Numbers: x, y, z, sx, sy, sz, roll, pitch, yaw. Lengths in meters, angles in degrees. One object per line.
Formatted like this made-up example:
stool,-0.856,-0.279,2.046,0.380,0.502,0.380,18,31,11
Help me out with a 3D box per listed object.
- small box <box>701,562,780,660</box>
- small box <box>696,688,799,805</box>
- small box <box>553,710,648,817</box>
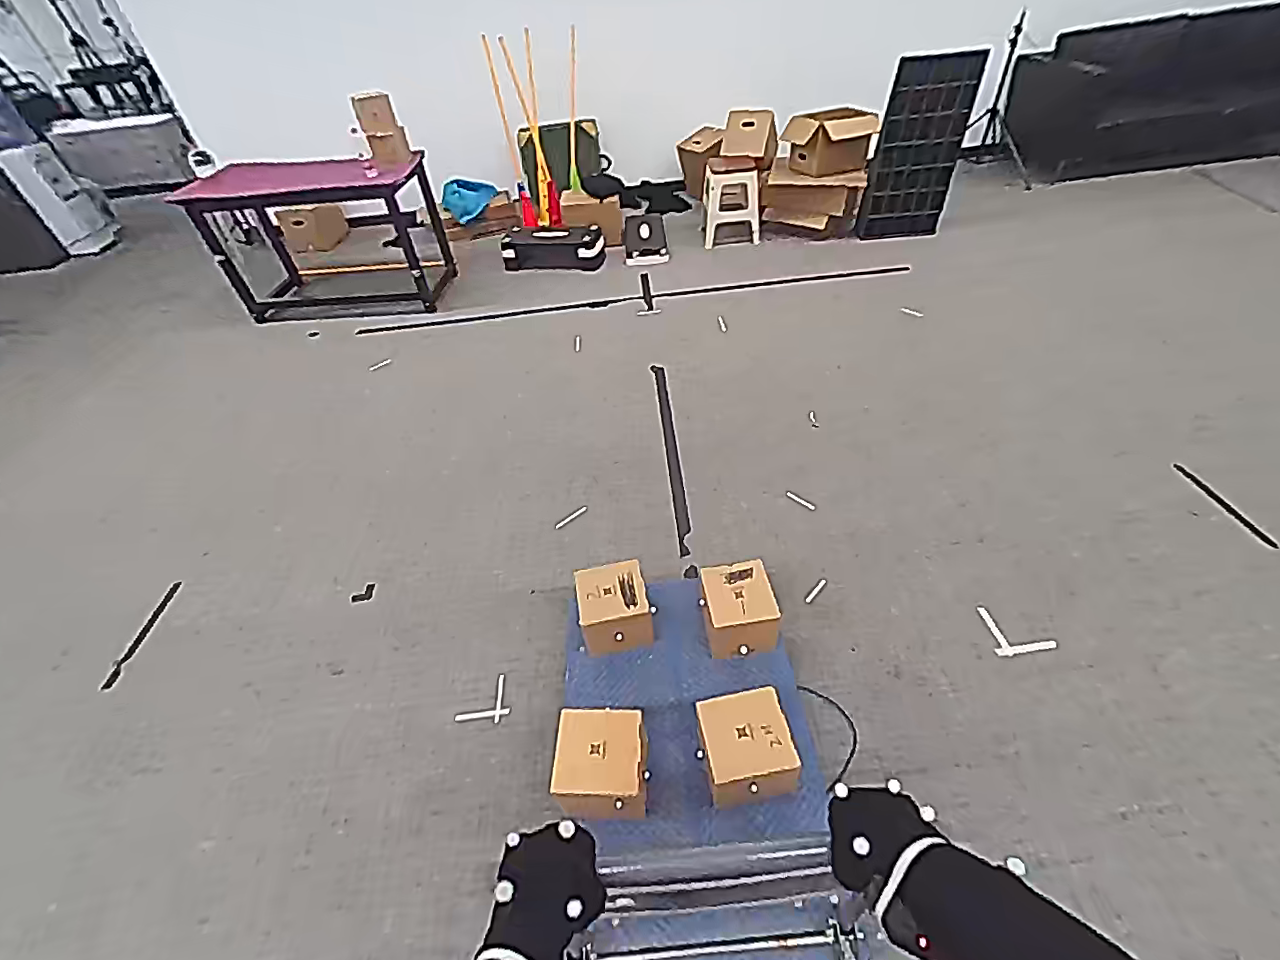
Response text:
small box,0.253,0.342,1.409,0.168,0.176,0.179,-9,45,-2
small box,0.226,0.579,1.169,0.179,0.176,0.168,-10,44,-3
small box,-0.077,0.616,1.171,0.179,0.176,0.168,-1,44,4
